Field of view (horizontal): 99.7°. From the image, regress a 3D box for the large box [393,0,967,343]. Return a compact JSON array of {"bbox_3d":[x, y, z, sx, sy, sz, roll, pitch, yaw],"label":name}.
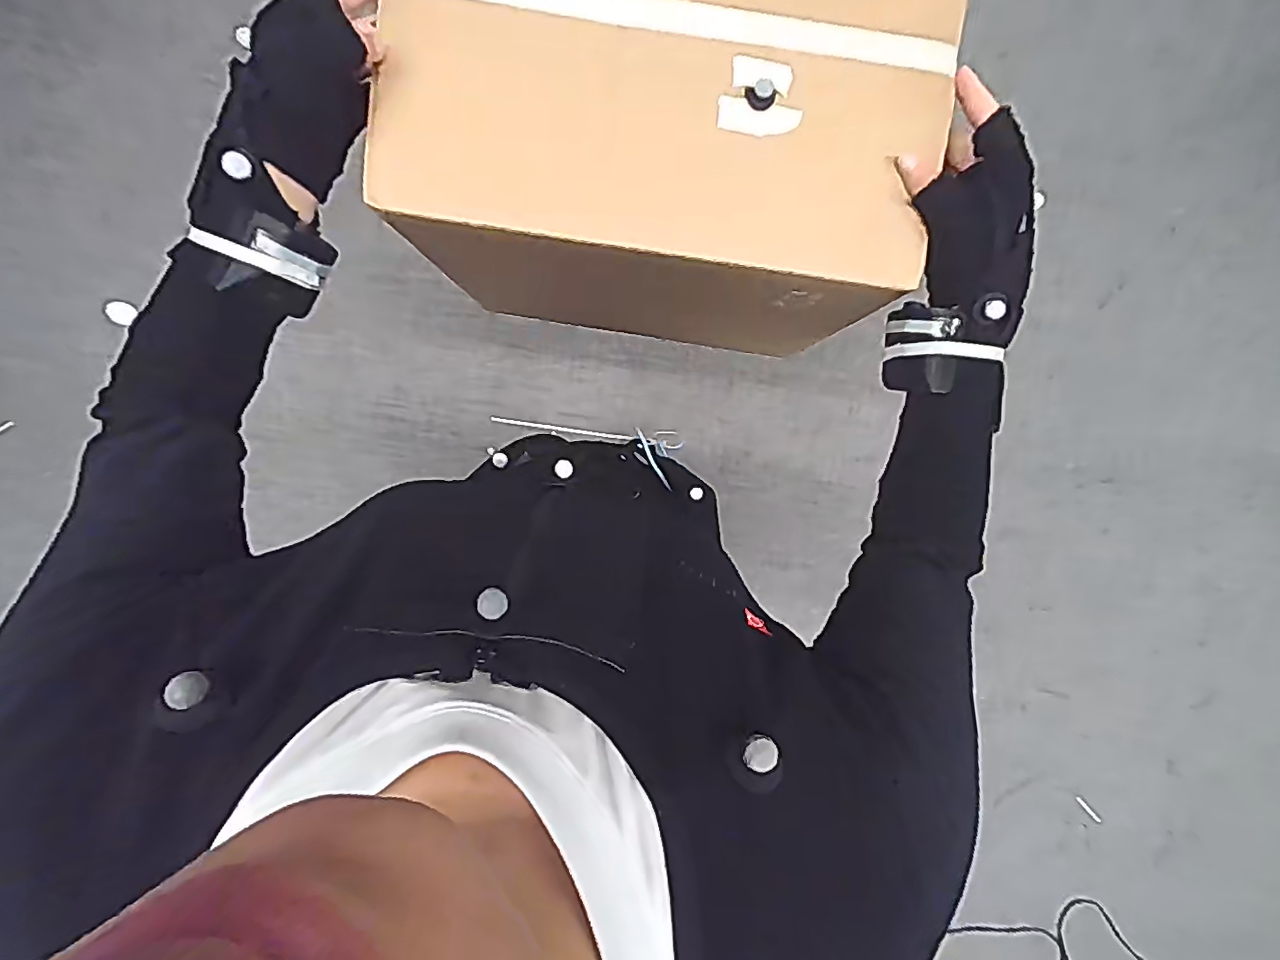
[{"bbox_3d":[0.028,-0.340,0.536,0.408,0.320,0.320,8,94,-3],"label":"large box"}]
